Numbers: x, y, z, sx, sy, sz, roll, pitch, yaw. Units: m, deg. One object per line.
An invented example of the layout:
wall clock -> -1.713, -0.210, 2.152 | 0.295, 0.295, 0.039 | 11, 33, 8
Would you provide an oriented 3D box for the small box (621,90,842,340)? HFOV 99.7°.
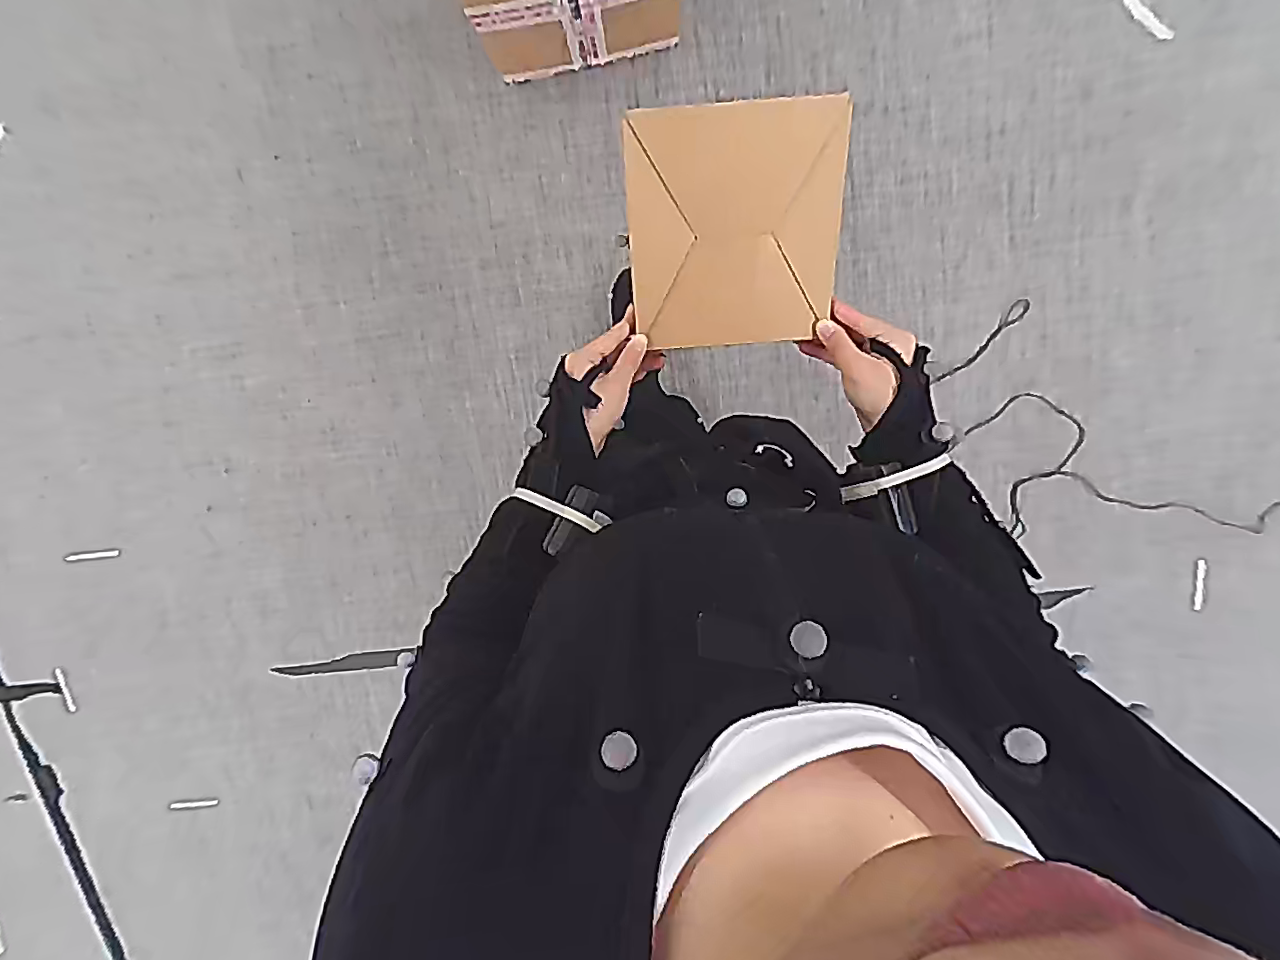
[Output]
small box -> 0.072, -0.238, 0.500 | 0.168, 0.176, 0.179 | -4, 121, 1
